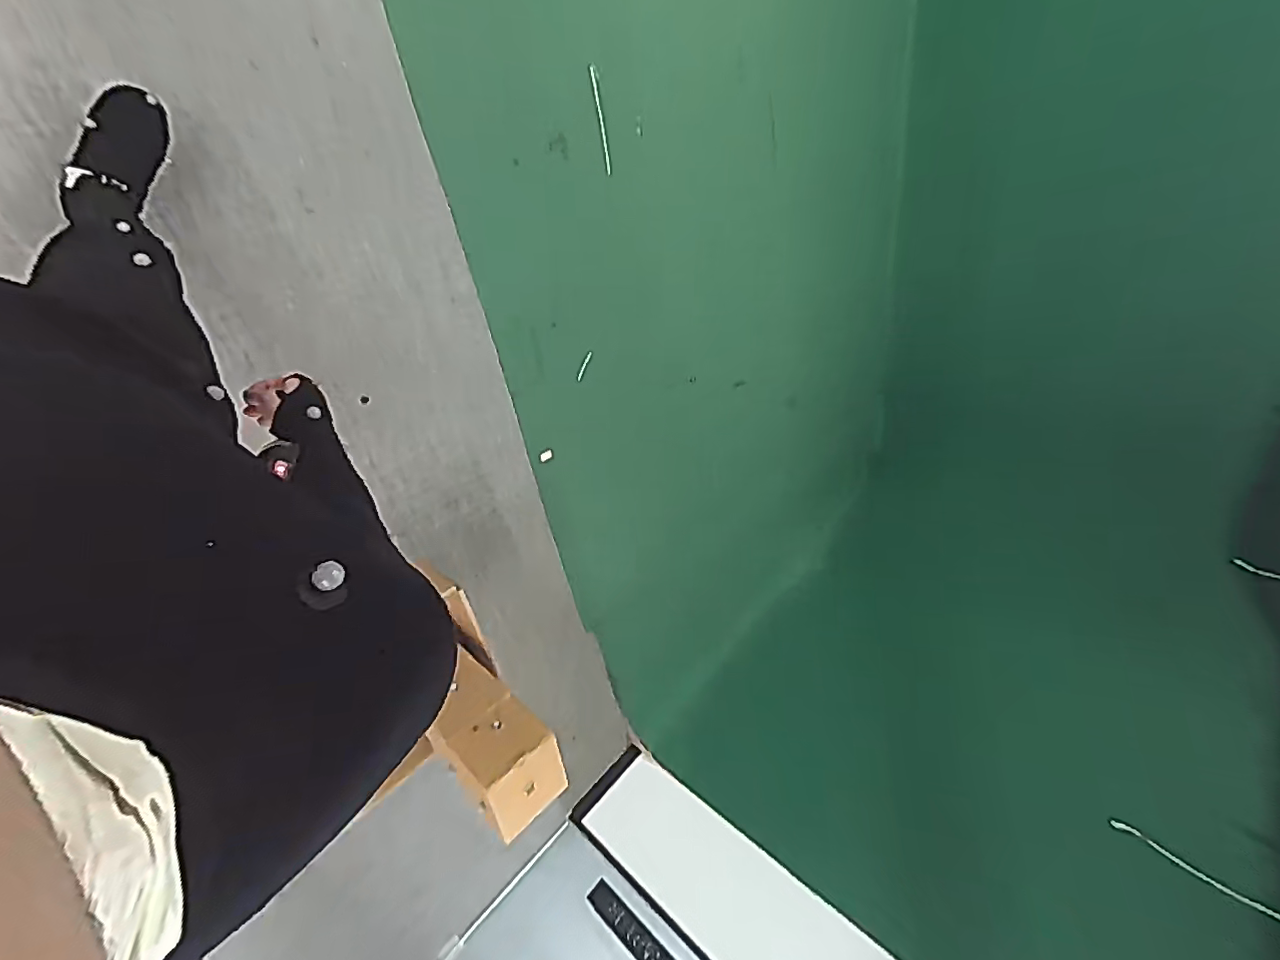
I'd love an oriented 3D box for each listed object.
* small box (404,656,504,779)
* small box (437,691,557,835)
[{"bbox_3d":[-0.420,0.550,1.264,0.168,0.176,0.179,-32,127,-37],"label":"small box"},{"bbox_3d":[-0.305,0.595,1.158,0.168,0.176,0.179,-30,125,-38],"label":"small box"}]
